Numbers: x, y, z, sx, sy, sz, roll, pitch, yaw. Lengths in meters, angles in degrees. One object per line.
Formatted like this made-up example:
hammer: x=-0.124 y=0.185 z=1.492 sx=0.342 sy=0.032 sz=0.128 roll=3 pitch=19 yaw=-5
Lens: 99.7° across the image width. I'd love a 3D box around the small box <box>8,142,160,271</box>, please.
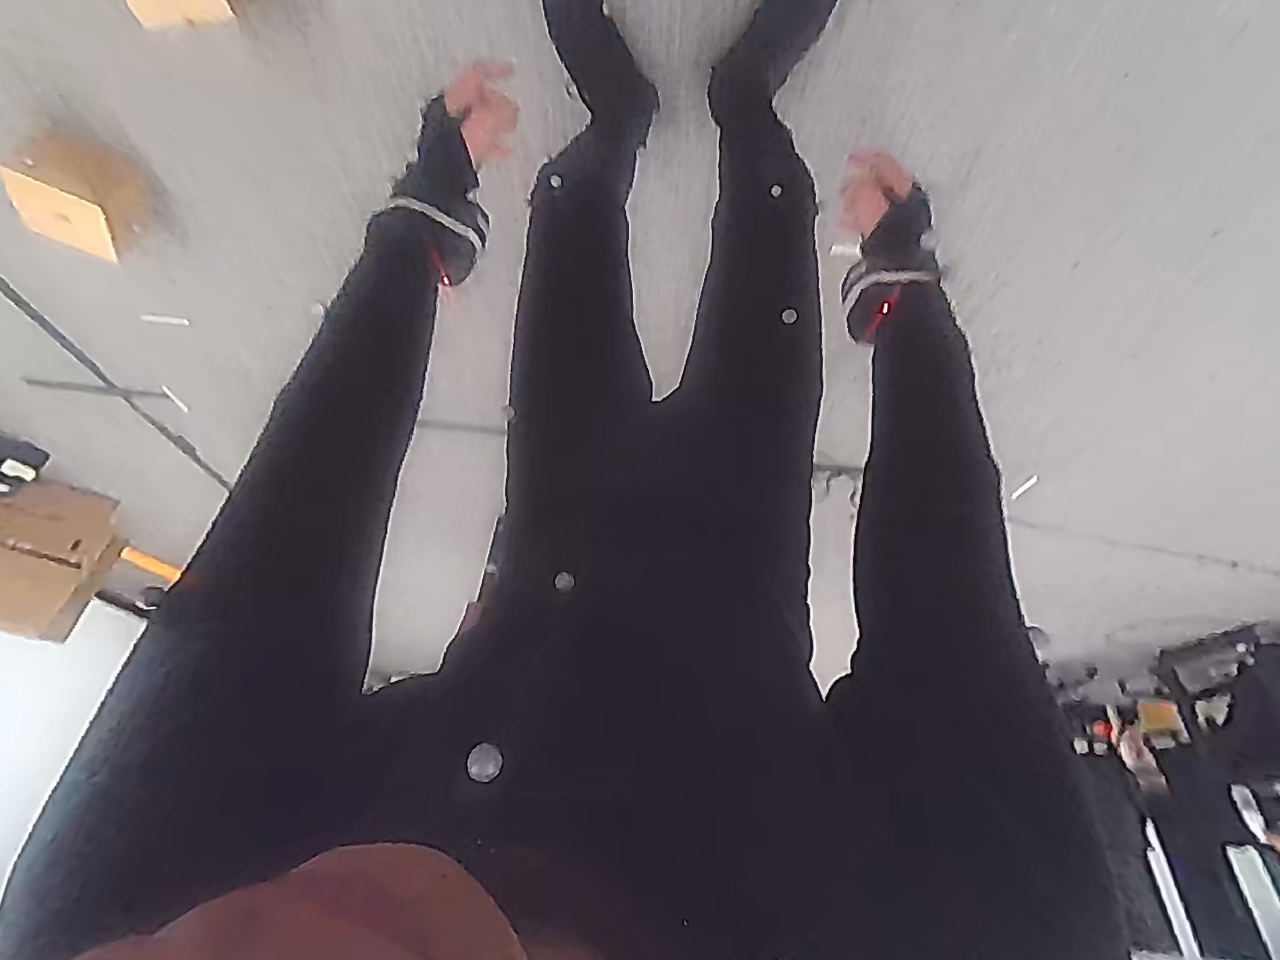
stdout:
small box: x=-1.242 y=-0.622 z=1.230 sx=0.179 sy=0.176 sz=0.168 roll=21 pitch=143 yaw=-22
